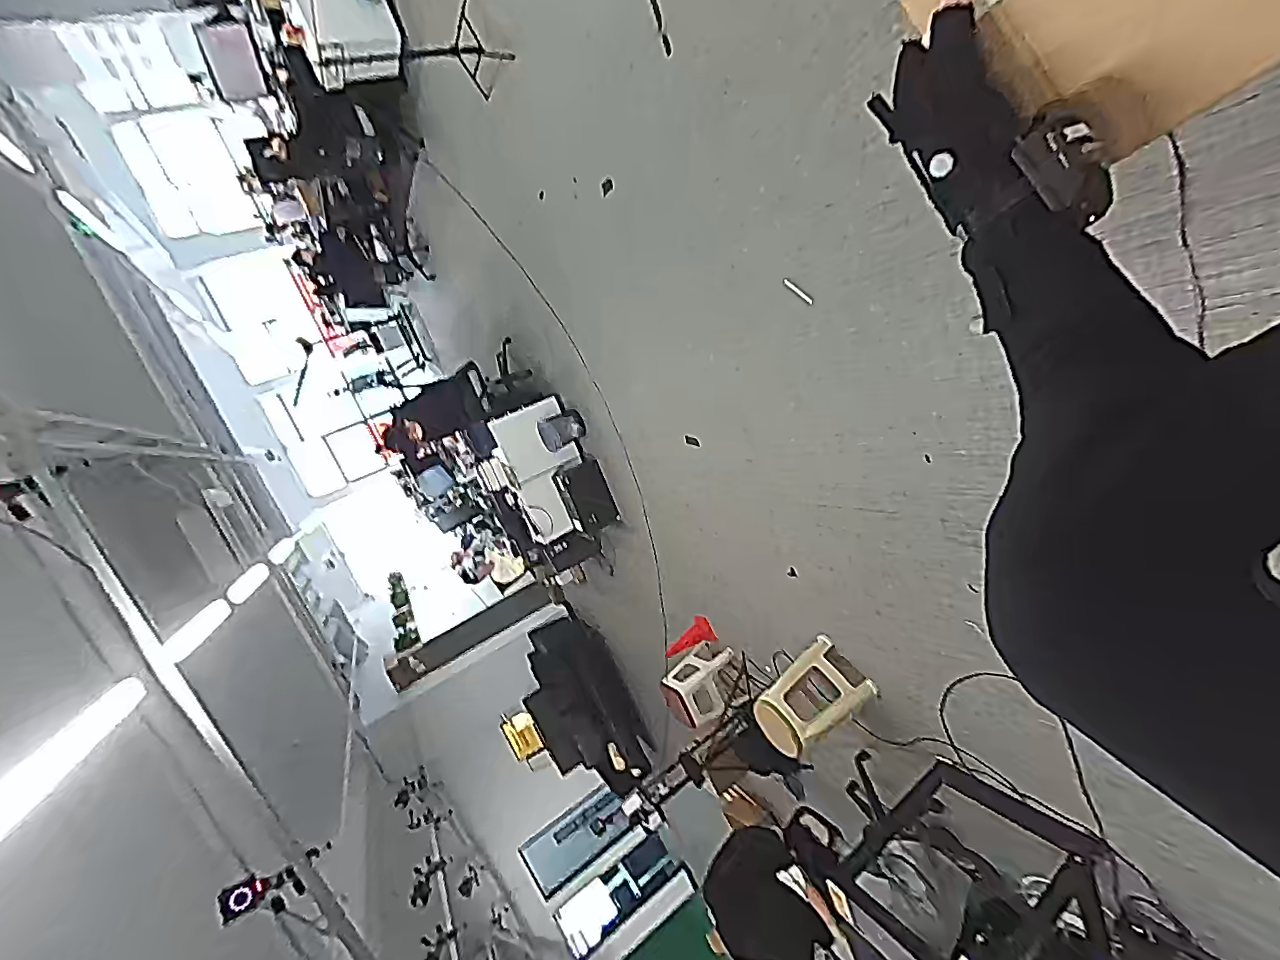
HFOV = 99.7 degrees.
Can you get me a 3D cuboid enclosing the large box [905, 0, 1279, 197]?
[{"bbox_3d":[0.417,-0.476,0.324,0.320,0.320,0.408,52,154,-4],"label":"large box"}]
